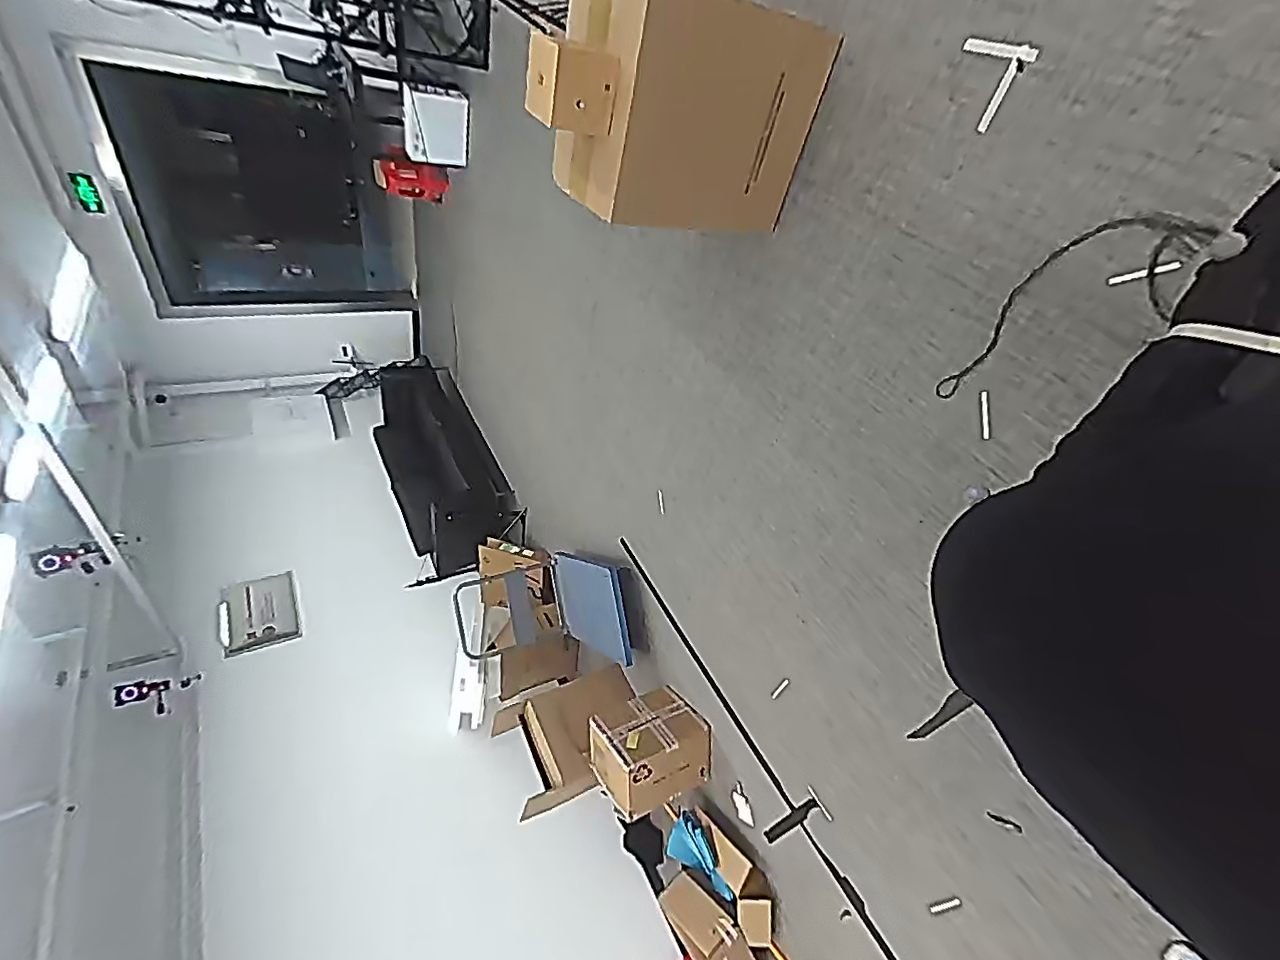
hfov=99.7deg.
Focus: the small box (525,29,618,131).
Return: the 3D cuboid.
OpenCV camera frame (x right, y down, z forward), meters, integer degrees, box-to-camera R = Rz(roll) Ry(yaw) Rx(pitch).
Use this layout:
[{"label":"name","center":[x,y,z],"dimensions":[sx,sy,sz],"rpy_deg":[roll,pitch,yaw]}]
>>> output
[{"label":"small box","center":[-0.173,-0.987,1.342],"dimensions":[0.179,0.176,0.168],"rpy_deg":[55,144,35]}]
